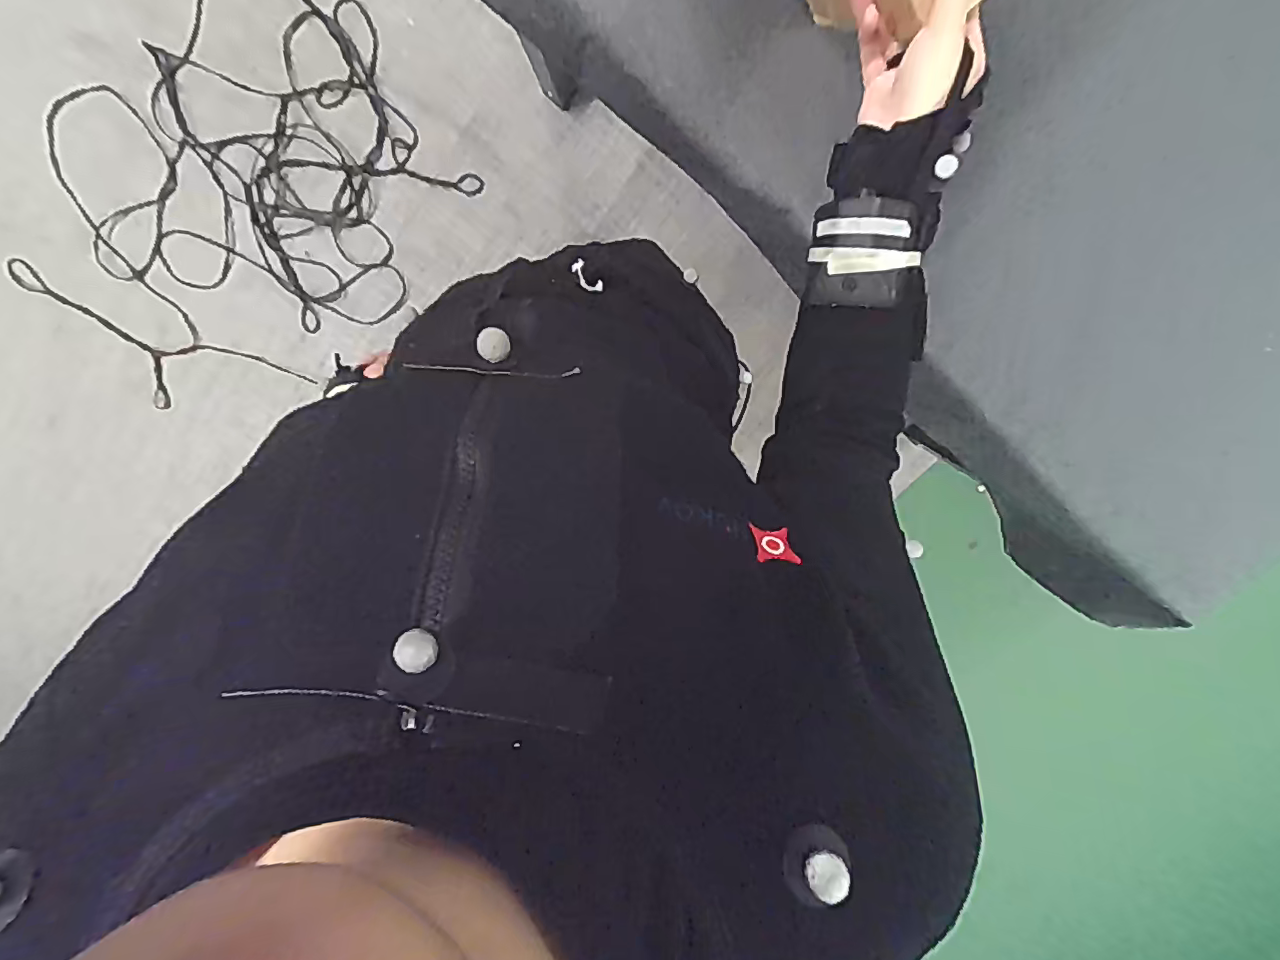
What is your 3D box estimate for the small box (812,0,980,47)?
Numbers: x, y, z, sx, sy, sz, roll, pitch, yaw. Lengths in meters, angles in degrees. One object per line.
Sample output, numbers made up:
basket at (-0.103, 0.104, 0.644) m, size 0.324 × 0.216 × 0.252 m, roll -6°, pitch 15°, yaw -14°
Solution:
small box at (0.177, -0.417, 0.326) m, size 0.168 × 0.176 × 0.179 m, roll -37°, pitch 128°, yaw 20°
